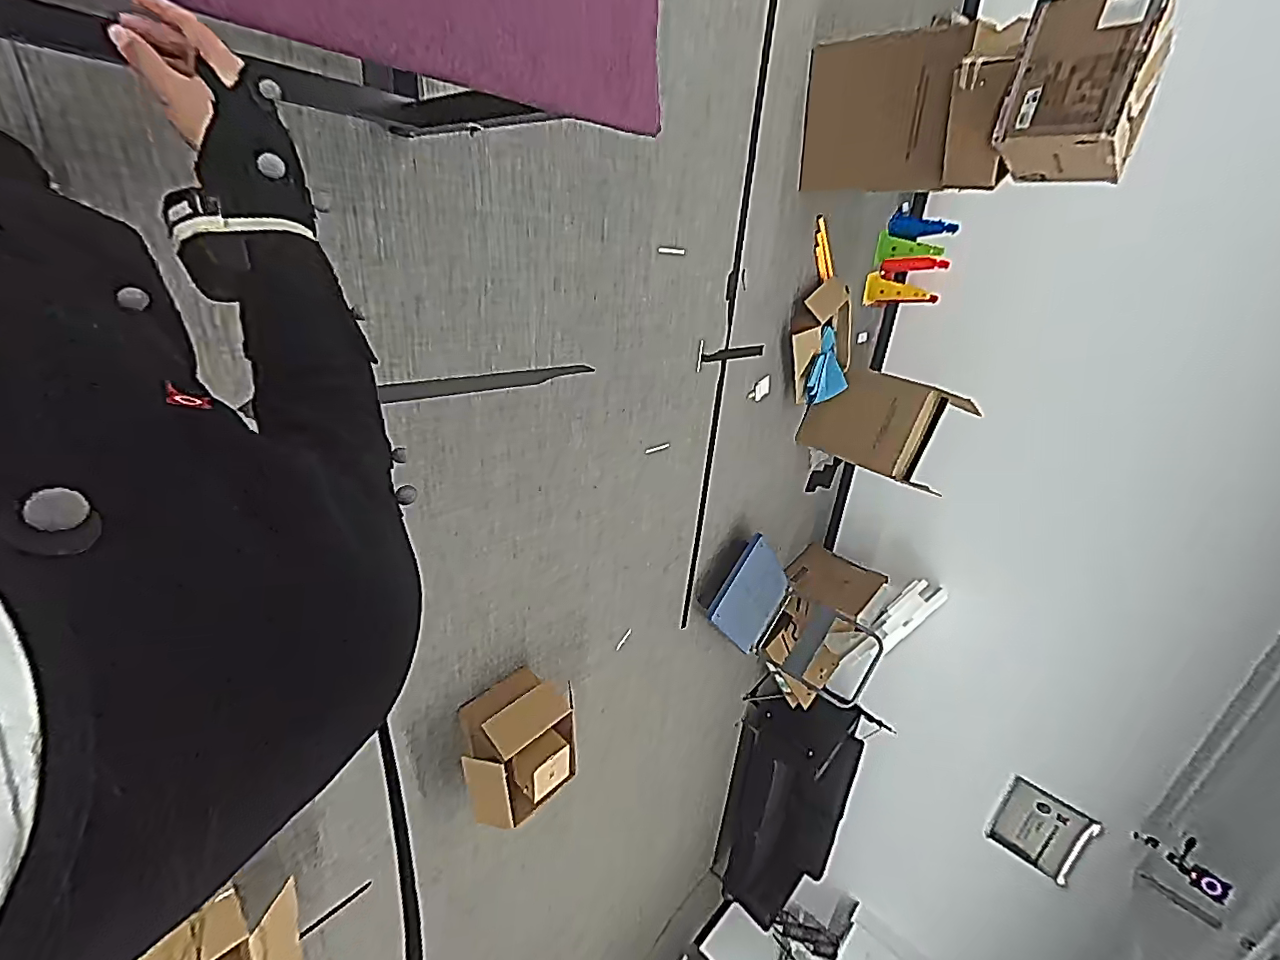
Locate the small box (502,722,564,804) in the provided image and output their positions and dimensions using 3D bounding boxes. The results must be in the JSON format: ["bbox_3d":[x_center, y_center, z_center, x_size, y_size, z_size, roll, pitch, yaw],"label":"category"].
[{"bbox_3d":[-0.405,1.059,2.039,0.168,0.176,0.179,-22,125,-44],"label":"small box"}]
